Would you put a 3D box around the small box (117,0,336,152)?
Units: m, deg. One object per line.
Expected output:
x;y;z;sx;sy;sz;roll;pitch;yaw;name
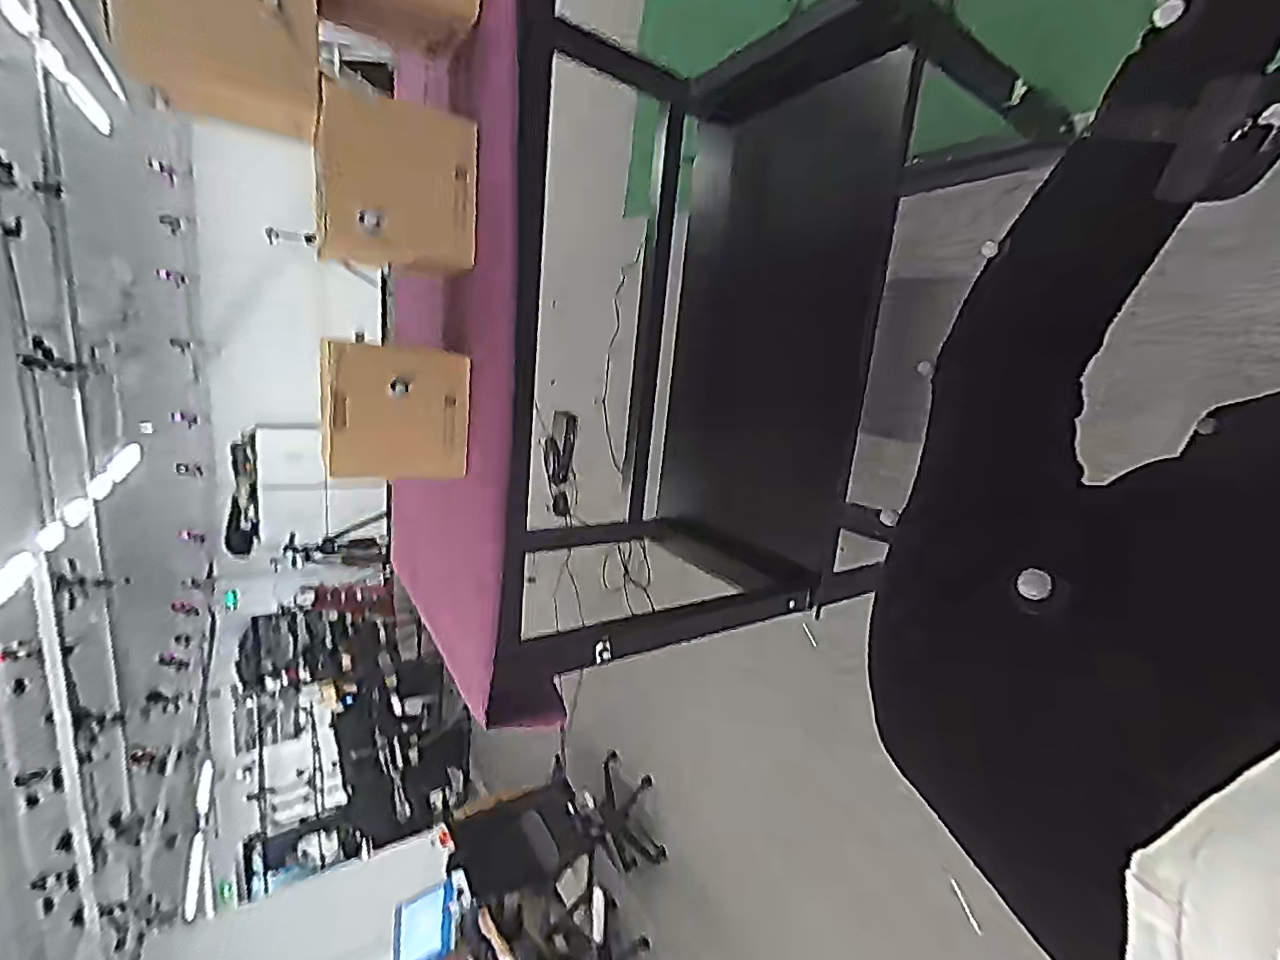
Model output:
-0.433;-0.489;0.581;0.168;0.176;0.179;25;113;54;small box

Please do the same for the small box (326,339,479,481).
-0.330;-0.101;0.752;0.179;0.176;0.168;24;111;54;small box

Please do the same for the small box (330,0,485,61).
-0.284;-0.640;0.641;0.168;0.176;0.179;22;111;54;small box
